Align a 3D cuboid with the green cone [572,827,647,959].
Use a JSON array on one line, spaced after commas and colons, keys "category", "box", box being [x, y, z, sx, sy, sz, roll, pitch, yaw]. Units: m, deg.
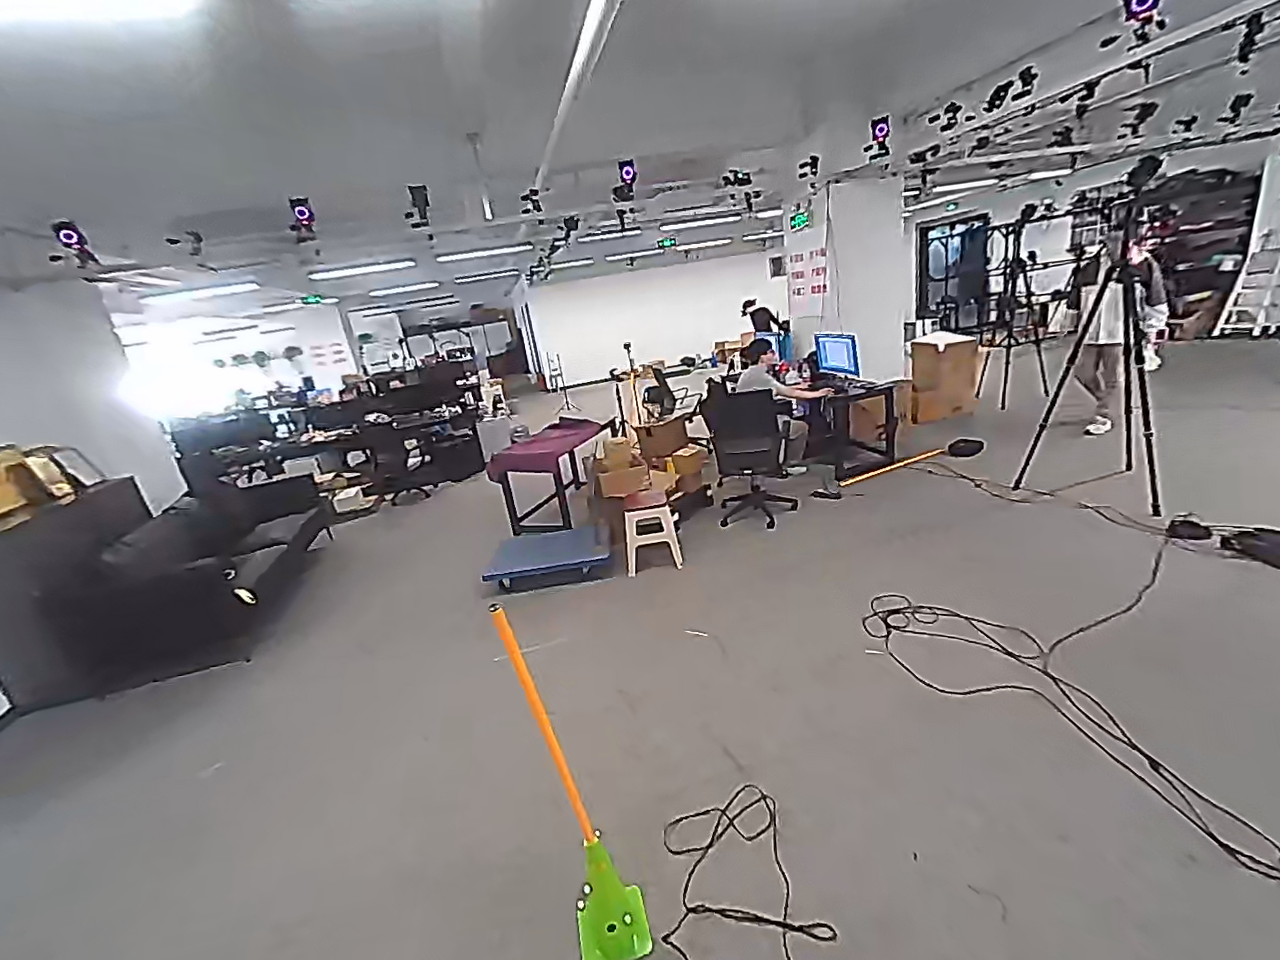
[{"category": "green cone", "box": [-0.116, 1.135, 1.523, 0.202, 0.368, 0.200, -12, 19, -11]}]
